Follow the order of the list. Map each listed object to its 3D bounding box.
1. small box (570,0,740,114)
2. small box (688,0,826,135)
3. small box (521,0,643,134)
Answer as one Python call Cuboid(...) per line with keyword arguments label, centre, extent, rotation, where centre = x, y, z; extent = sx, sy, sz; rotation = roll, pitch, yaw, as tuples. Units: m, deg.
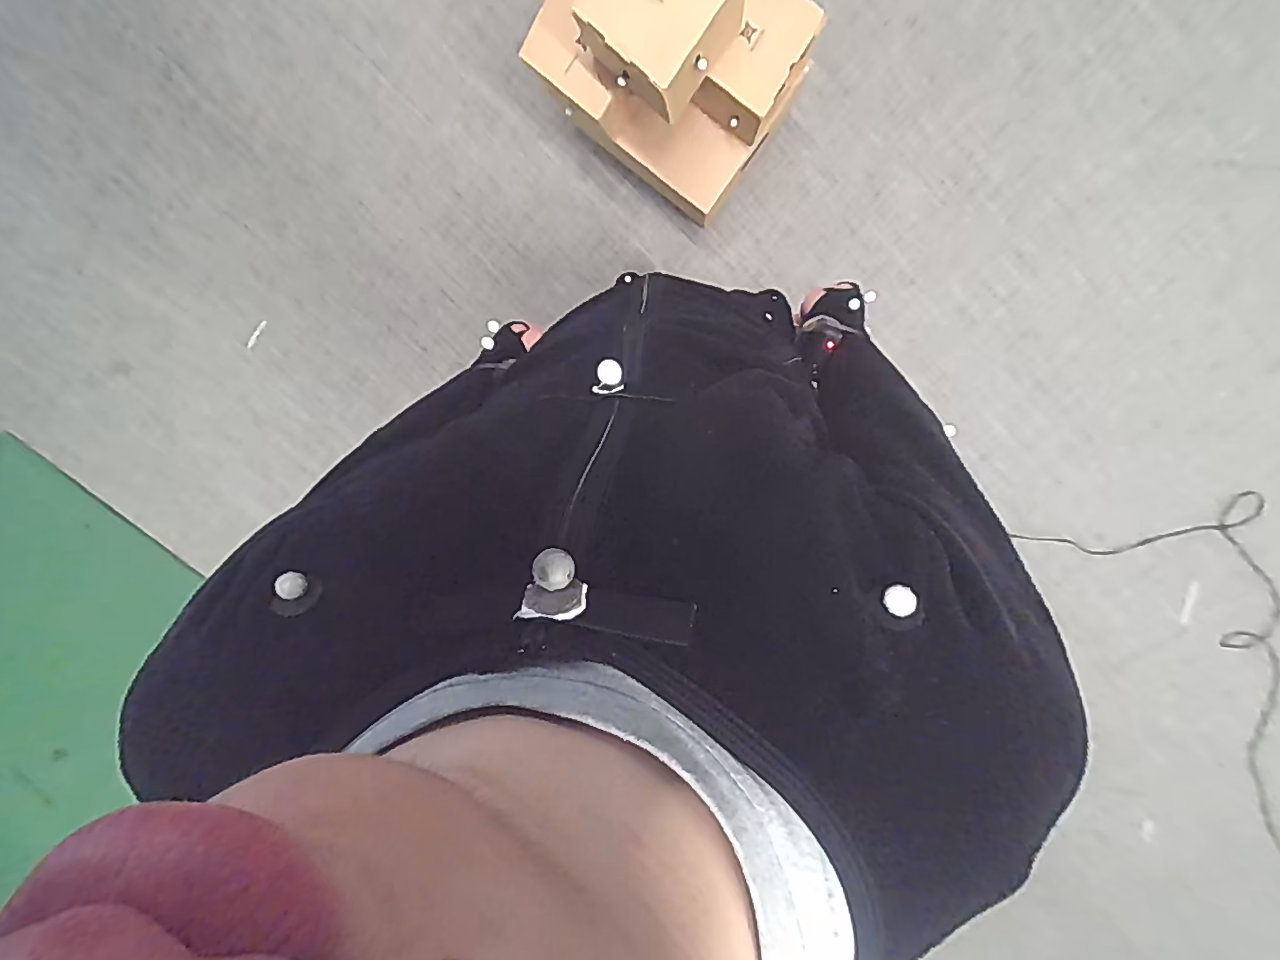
Cuboid(label="small box", centre=(0.032, -0.669, 0.769), extent=(0.168, 0.176, 0.179), rotation=(39, 111, -8))
Cuboid(label="small box", centre=(0.177, -0.720, 0.912), extent=(0.179, 0.176, 0.168), rotation=(34, 107, -5))
Cuboid(label="small box", centre=(-0.072, -0.743, 0.931), extent=(0.168, 0.176, 0.179), rotation=(37, 112, -7))
